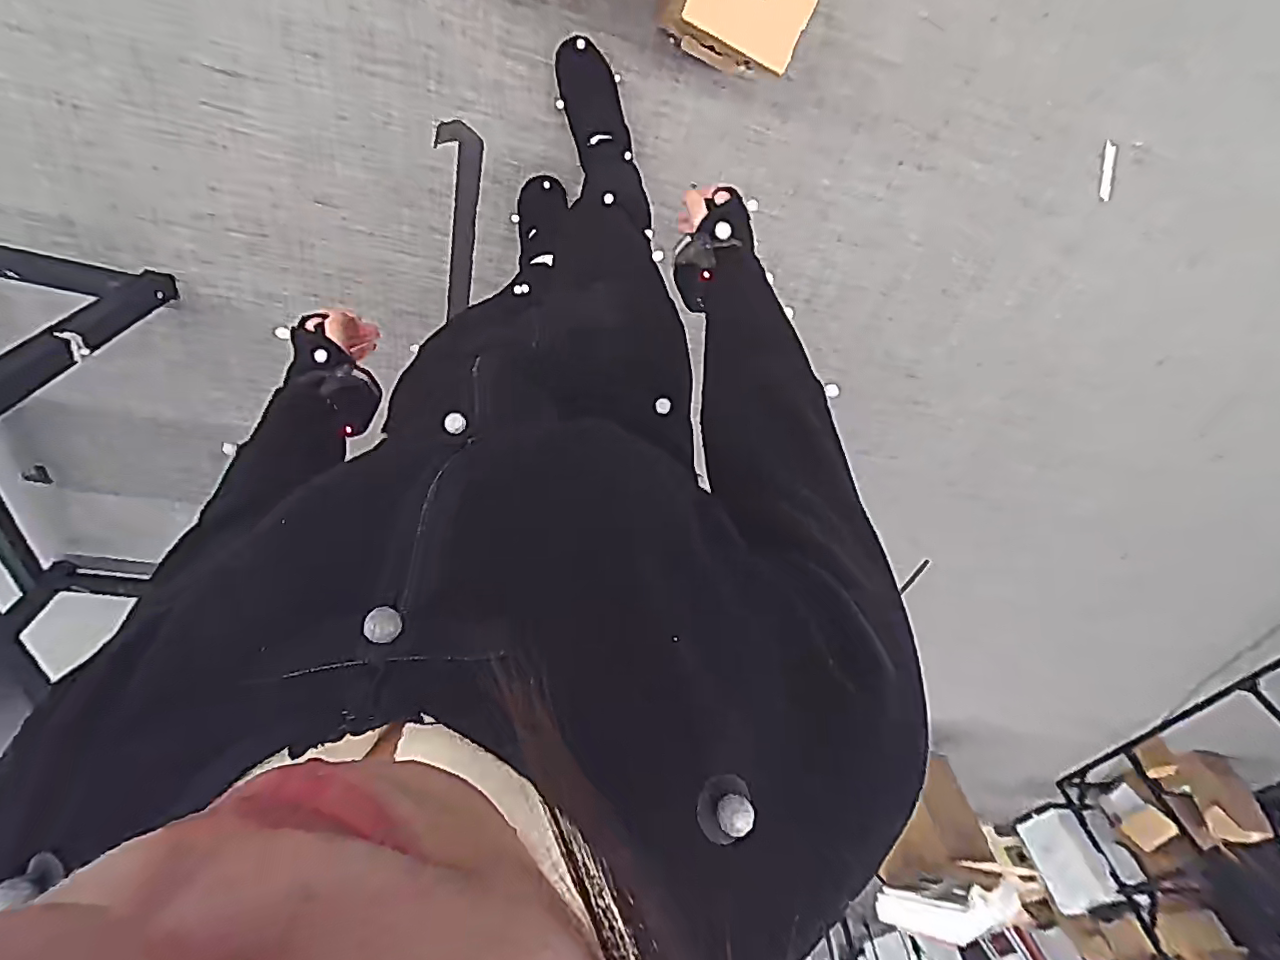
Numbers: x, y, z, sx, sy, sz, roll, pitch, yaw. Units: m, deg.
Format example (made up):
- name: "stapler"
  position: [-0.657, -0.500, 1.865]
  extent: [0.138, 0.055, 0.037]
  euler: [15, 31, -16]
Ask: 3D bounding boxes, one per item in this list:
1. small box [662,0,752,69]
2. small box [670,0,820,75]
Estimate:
- name: "small box"
  position: [0.145, -0.843, 0.921]
  extent: [0.168, 0.176, 0.179]
  euler: [14, 127, -18]
- name: "small box"
  position: [0.162, -0.739, 0.797]
  extent: [0.179, 0.176, 0.168]
  euler: [16, 127, -19]
